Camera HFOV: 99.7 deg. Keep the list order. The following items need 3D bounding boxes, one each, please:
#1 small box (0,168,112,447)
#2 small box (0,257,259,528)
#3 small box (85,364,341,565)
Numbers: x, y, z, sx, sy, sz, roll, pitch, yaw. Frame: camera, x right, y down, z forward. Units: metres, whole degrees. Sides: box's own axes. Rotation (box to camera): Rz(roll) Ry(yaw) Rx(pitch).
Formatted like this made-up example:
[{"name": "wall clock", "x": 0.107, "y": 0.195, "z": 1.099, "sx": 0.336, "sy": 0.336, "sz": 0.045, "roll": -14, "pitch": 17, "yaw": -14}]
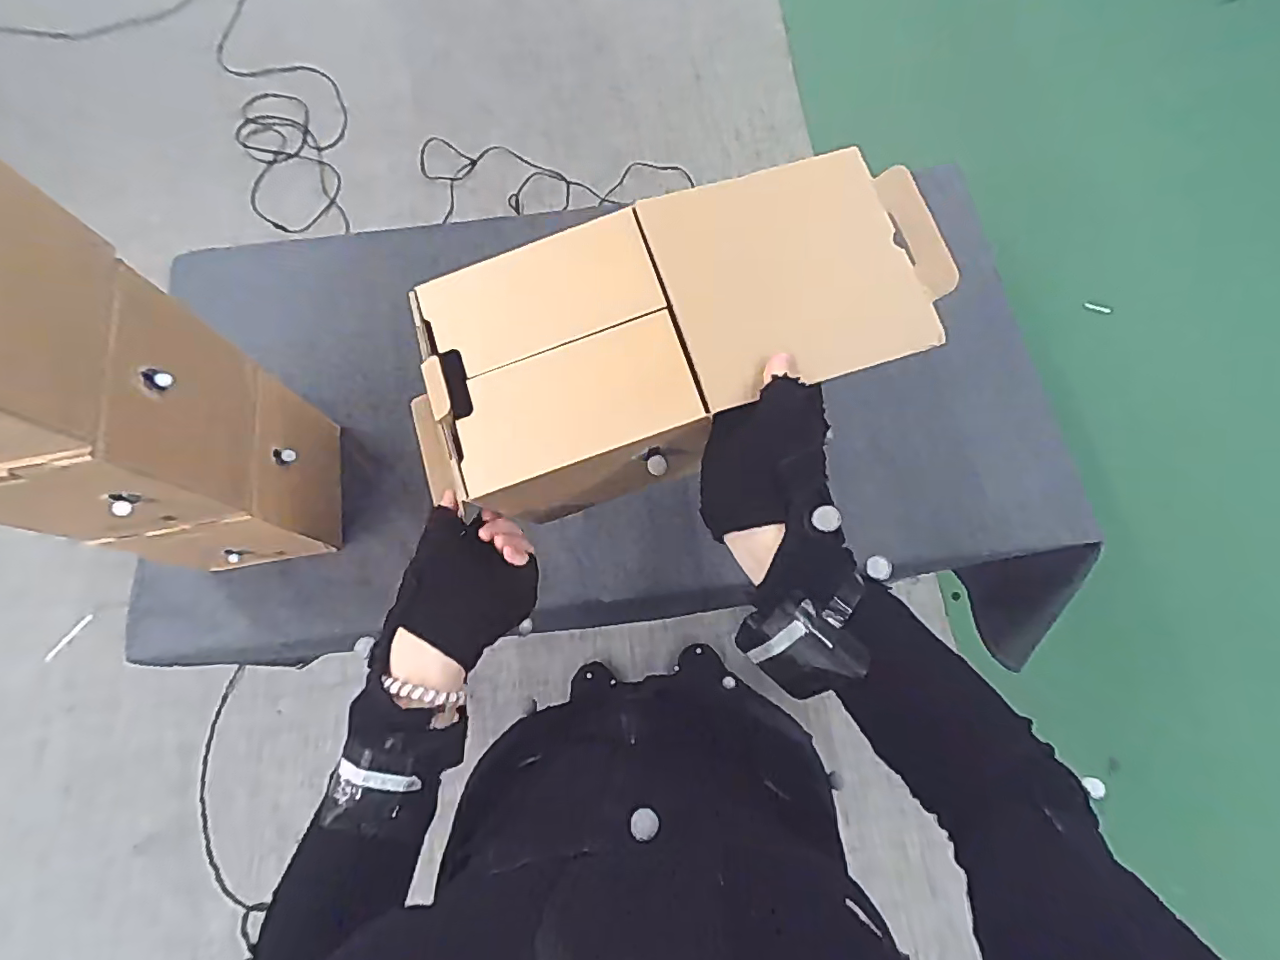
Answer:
[{"name": "small box", "x": -0.479, "y": -0.118, "z": 0.326, "sx": 0.168, "sy": 0.176, "sz": 0.179, "roll": -10, "pitch": 72, "yaw": -4}, {"name": "small box", "x": -0.476, "y": -0.061, "z": 0.480, "sx": 0.168, "sy": 0.176, "sz": 0.179, "roll": -9, "pitch": 72, "yaw": -3}, {"name": "small box", "x": -0.475, "y": -0.010, "z": 0.634, "sx": 0.168, "sy": 0.176, "sz": 0.179, "roll": -10, "pitch": 73, "yaw": -2}]
